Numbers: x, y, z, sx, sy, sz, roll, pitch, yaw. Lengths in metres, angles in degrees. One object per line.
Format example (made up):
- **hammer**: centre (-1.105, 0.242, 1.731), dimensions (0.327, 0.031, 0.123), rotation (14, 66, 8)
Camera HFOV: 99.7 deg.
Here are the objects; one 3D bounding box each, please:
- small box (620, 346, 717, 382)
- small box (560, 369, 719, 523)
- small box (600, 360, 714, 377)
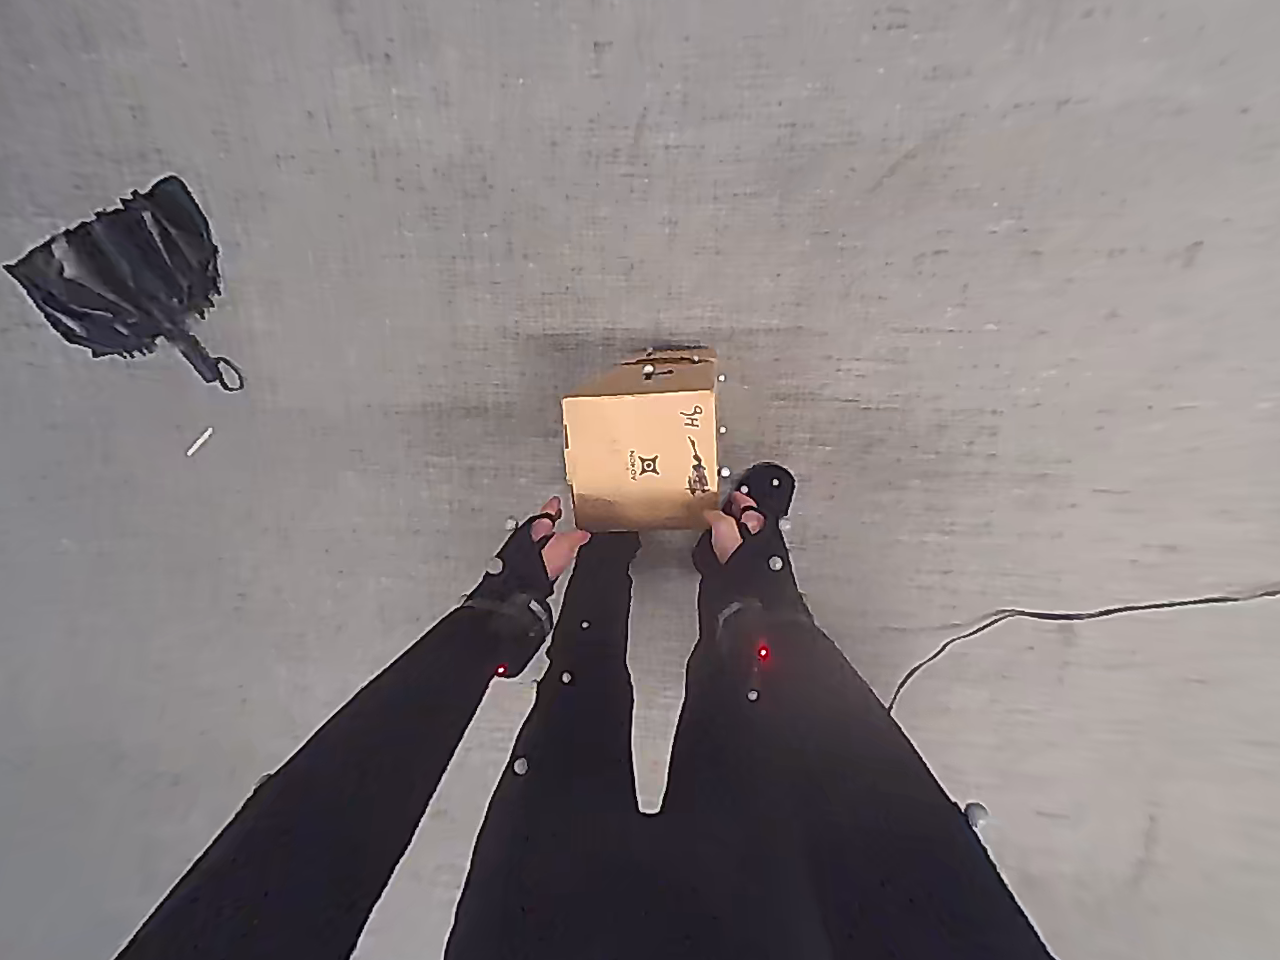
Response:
- **small box**: centre (0.059, -0.155, 1.012), dimensions (0.168, 0.176, 0.179), rotation (-1, 110, 9)
- **small box**: centre (0.011, -0.050, 0.705), dimensions (0.179, 0.176, 0.168), rotation (-2, 108, 10)
- **small box**: centre (0.036, -0.096, 0.860), dimensions (0.168, 0.176, 0.179), rotation (-1, 109, 9)
